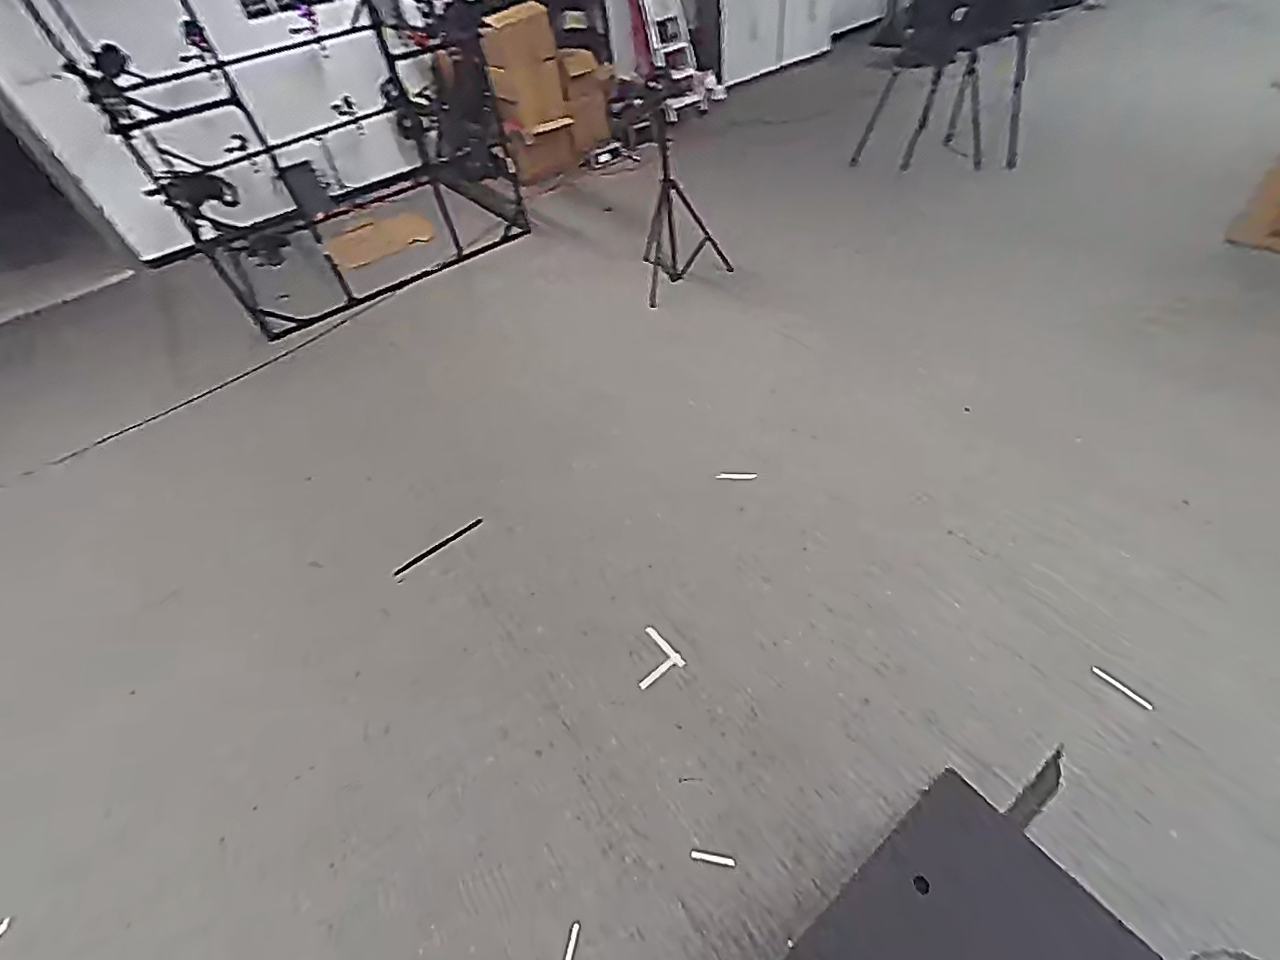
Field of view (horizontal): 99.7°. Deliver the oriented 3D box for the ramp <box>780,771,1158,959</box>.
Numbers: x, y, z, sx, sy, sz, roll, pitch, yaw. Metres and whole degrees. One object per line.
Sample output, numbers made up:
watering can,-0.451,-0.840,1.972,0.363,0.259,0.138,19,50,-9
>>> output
ramp,0.547,1.077,1.050,0.991,0.206,0.509,-35,49,-21
